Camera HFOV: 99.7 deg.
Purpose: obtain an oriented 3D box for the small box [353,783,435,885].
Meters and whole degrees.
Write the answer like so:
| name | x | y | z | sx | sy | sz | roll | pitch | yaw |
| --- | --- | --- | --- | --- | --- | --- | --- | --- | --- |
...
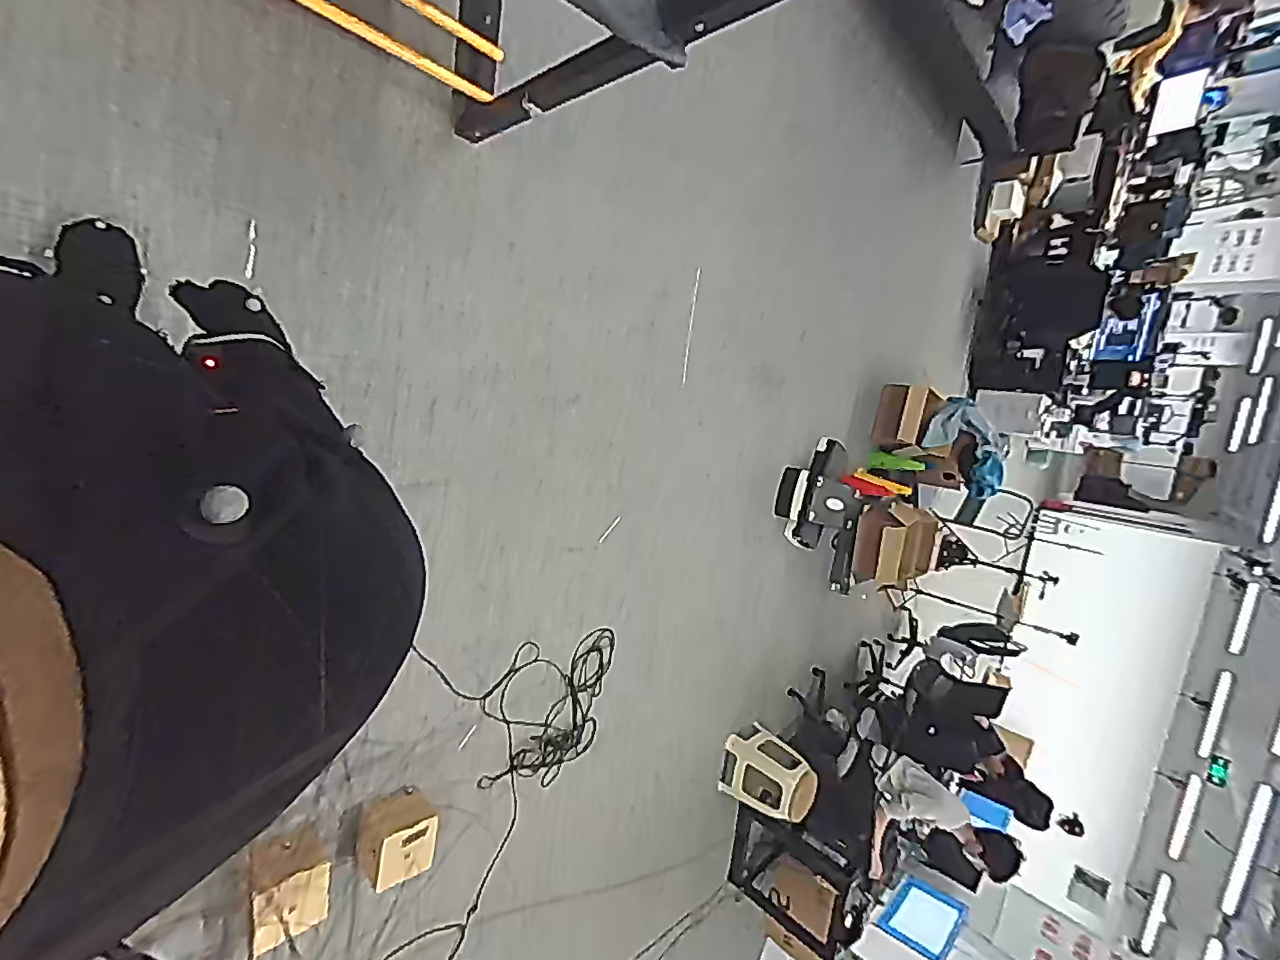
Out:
| name | x | y | z | sx | sy | sz | roll | pitch | yaw |
| --- | --- | --- | --- | --- | --- | --- | --- | --- | --- |
| small box | -0.744 | 1.051 | 1.629 | 0.168 | 0.176 | 0.179 | 4 | 99 | -48 |

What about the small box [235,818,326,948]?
| name | x | y | z | sx | sy | sz | roll | pitch | yaw |
| --- | --- | --- | --- | --- | --- | --- | --- | --- | --- |
| small box | -0.942 | 1.042 | 1.416 | 0.168 | 0.176 | 0.179 | -3 | 102 | -47 |
